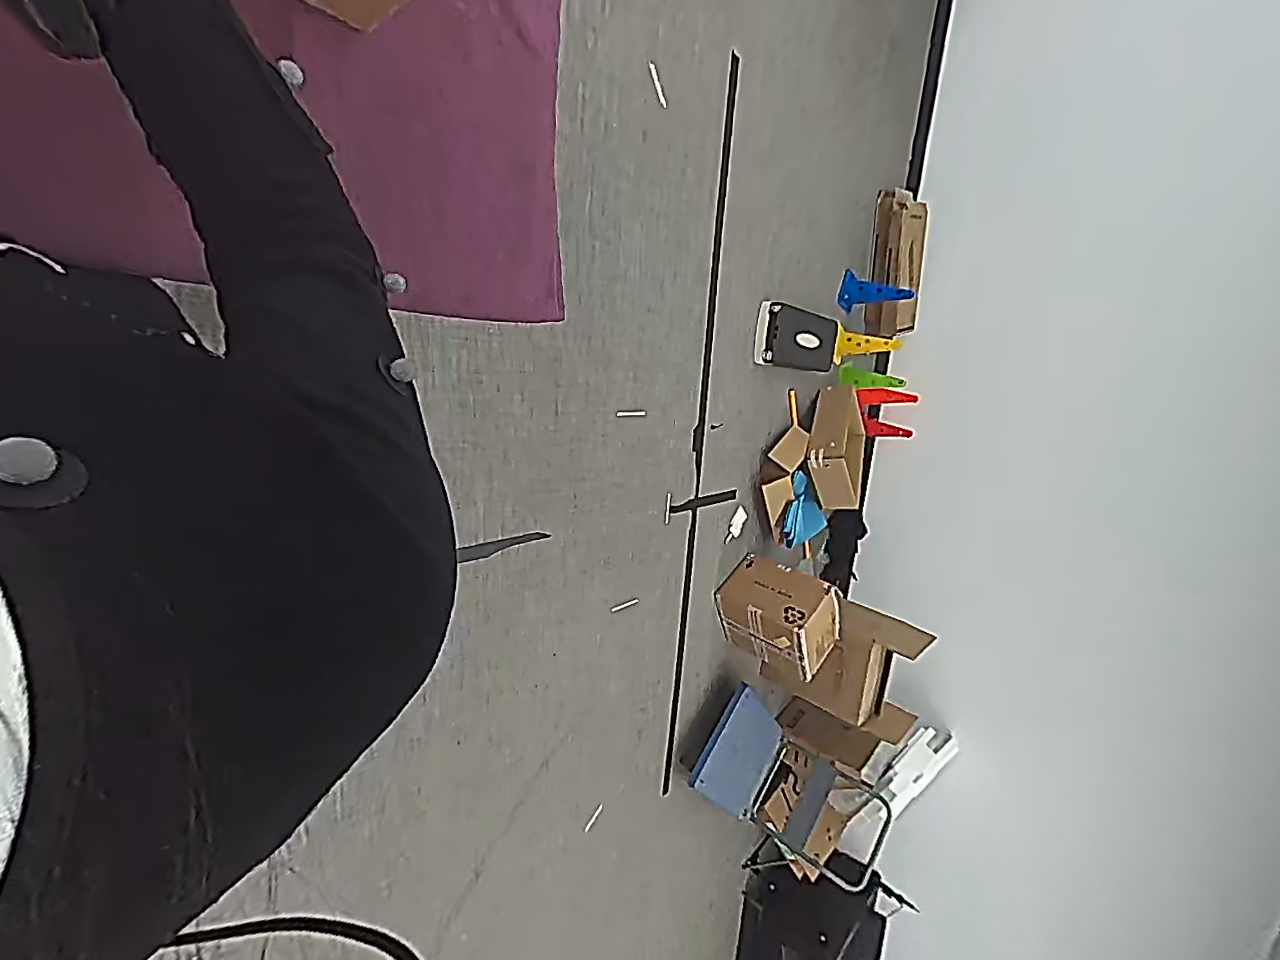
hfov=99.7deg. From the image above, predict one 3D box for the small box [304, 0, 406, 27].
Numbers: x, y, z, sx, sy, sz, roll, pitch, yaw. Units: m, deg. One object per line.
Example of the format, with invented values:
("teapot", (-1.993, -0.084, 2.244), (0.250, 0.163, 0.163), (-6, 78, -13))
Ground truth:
("small box", (-0.265, -0.524, 0.432), (0.168, 0.176, 0.179), (-5, 106, -48))
